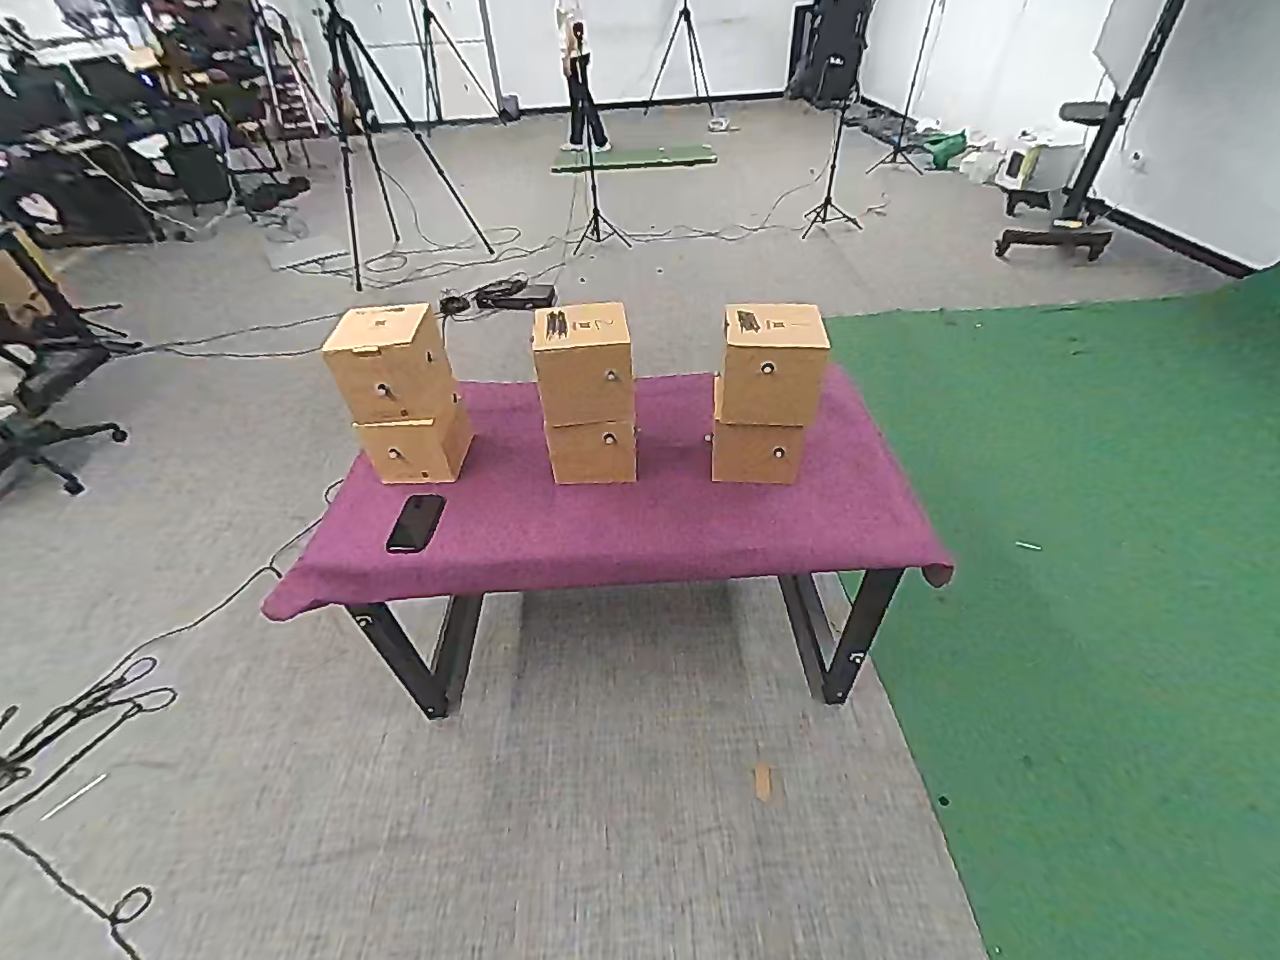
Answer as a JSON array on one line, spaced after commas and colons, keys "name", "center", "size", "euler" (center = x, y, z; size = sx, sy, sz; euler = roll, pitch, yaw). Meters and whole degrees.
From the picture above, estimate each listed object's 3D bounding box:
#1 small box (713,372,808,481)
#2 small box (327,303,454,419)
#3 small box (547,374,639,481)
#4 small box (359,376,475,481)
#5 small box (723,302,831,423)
[{"name": "small box", "center": [0.249, -0.112, 1.147], "size": [0.179, 0.176, 0.168], "euler": [2, 43, 7]}, {"name": "small box", "center": [-0.490, -0.236, 1.095], "size": [0.168, 0.176, 0.179], "euler": [-5, 44, -2]}, {"name": "small box", "center": [-0.092, -0.111, 1.169], "size": [0.179, 0.176, 0.168], "euler": [-2, 43, 2]}, {"name": "small box", "center": [-0.481, -0.111, 1.201], "size": [0.168, 0.176, 0.179], "euler": [-2, 43, 3]}, {"name": "small box", "center": [0.248, -0.221, 1.024], "size": [0.179, 0.176, 0.168], "euler": [2, 43, 6]}]
